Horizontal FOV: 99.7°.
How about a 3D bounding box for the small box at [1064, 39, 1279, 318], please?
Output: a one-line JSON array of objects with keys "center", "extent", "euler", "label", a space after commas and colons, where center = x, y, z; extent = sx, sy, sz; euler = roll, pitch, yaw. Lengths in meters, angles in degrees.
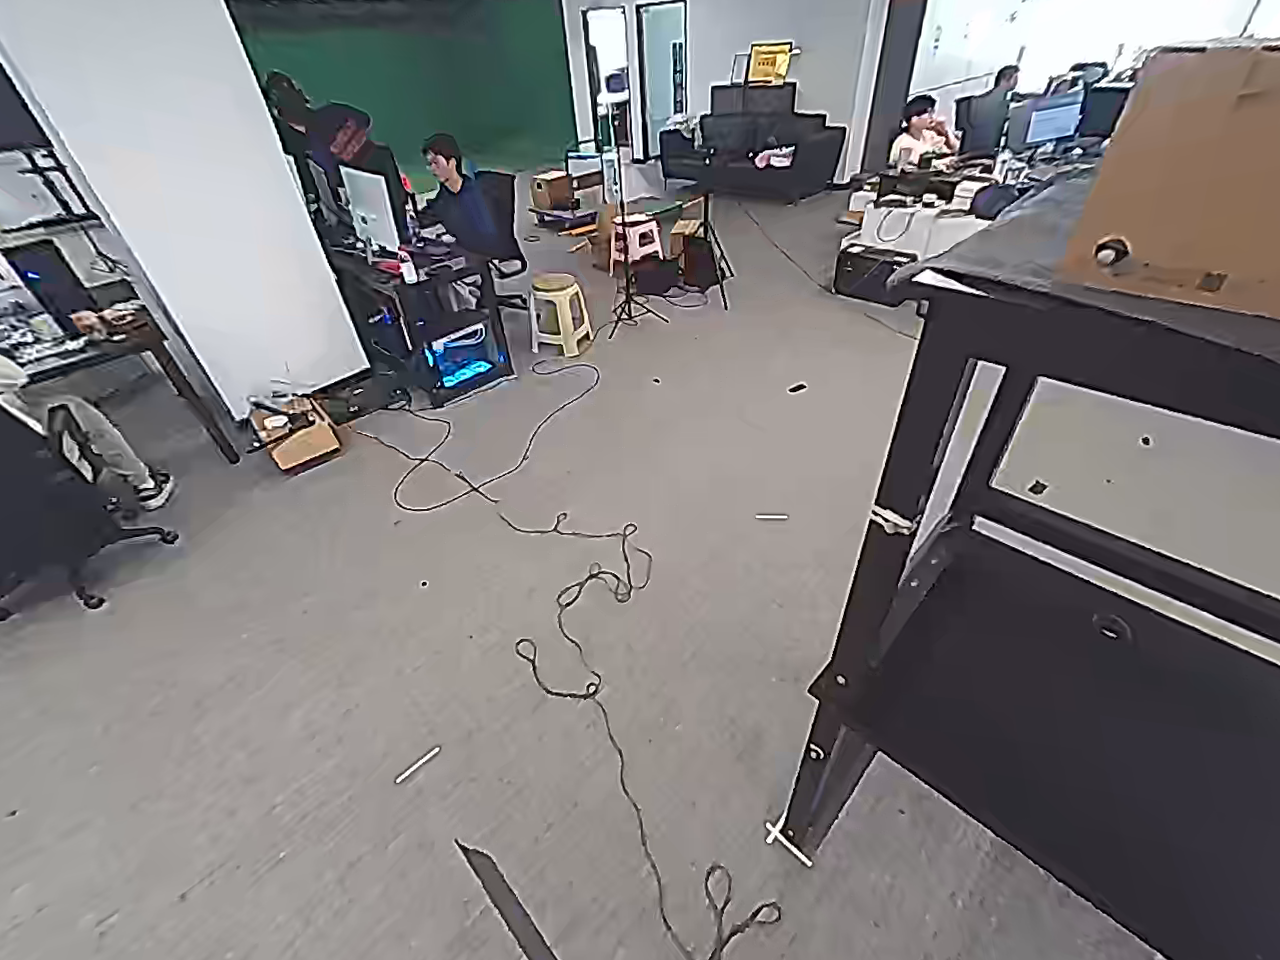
[{"center": [0.487, -0.249, 0.440], "extent": [0.168, 0.176, 0.179], "euler": [29, 49, 33], "label": "small box"}]
